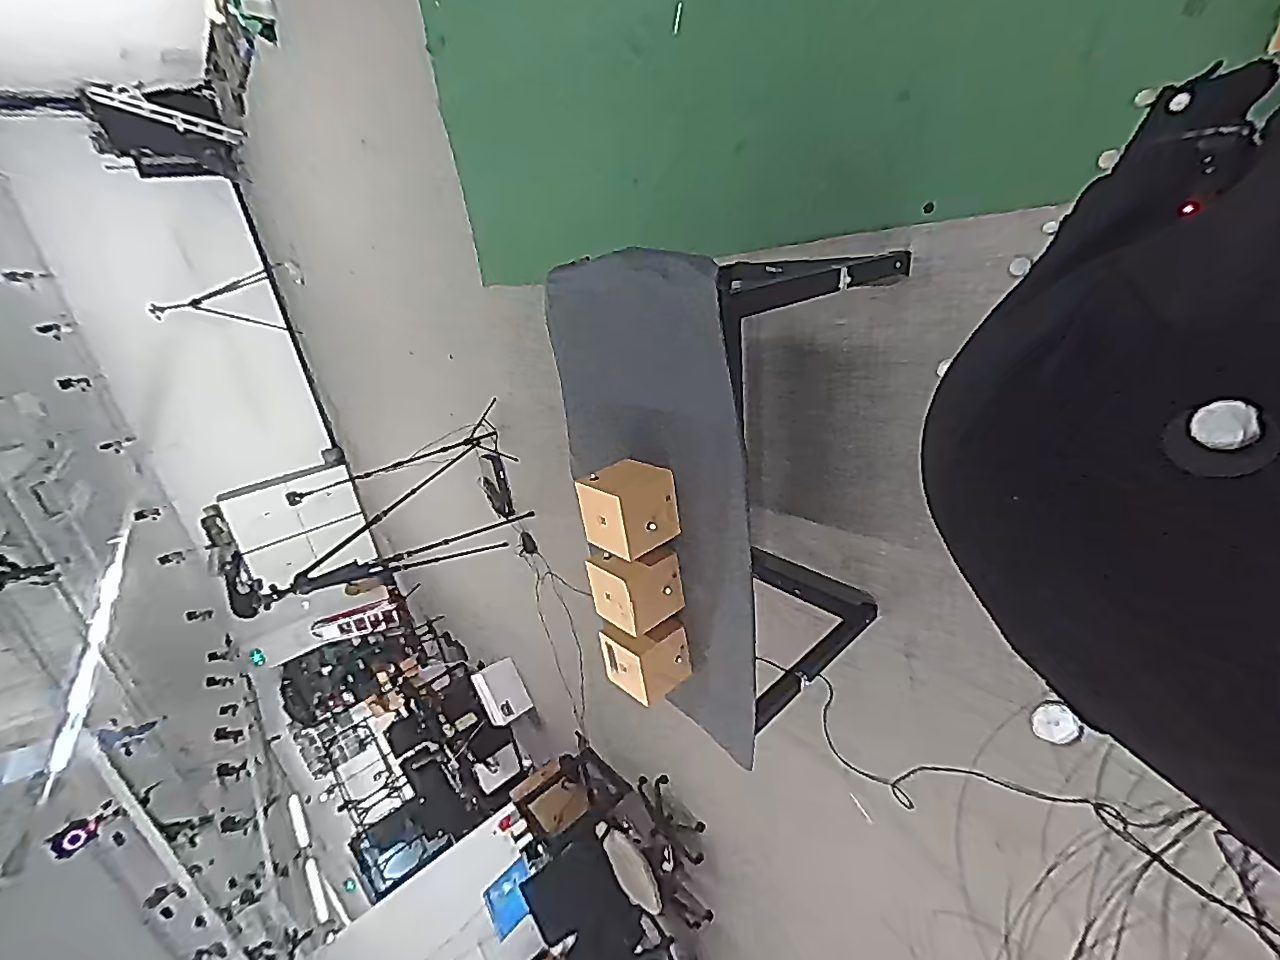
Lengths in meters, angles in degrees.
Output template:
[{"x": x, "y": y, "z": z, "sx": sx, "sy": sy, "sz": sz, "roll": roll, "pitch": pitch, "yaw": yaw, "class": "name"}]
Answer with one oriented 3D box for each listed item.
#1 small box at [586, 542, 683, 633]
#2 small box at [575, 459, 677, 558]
[{"x": -0.012, "y": 0.259, "z": 1.397, "sx": 0.179, "sy": 0.176, "sz": 0.168, "roll": 15, "pitch": 122, "yaw": 48, "class": "small box"}, {"x": -0.026, "y": 0.059, "z": 1.296, "sx": 0.179, "sy": 0.176, "sz": 0.168, "roll": 17, "pitch": 123, "yaw": 49, "class": "small box"}]
